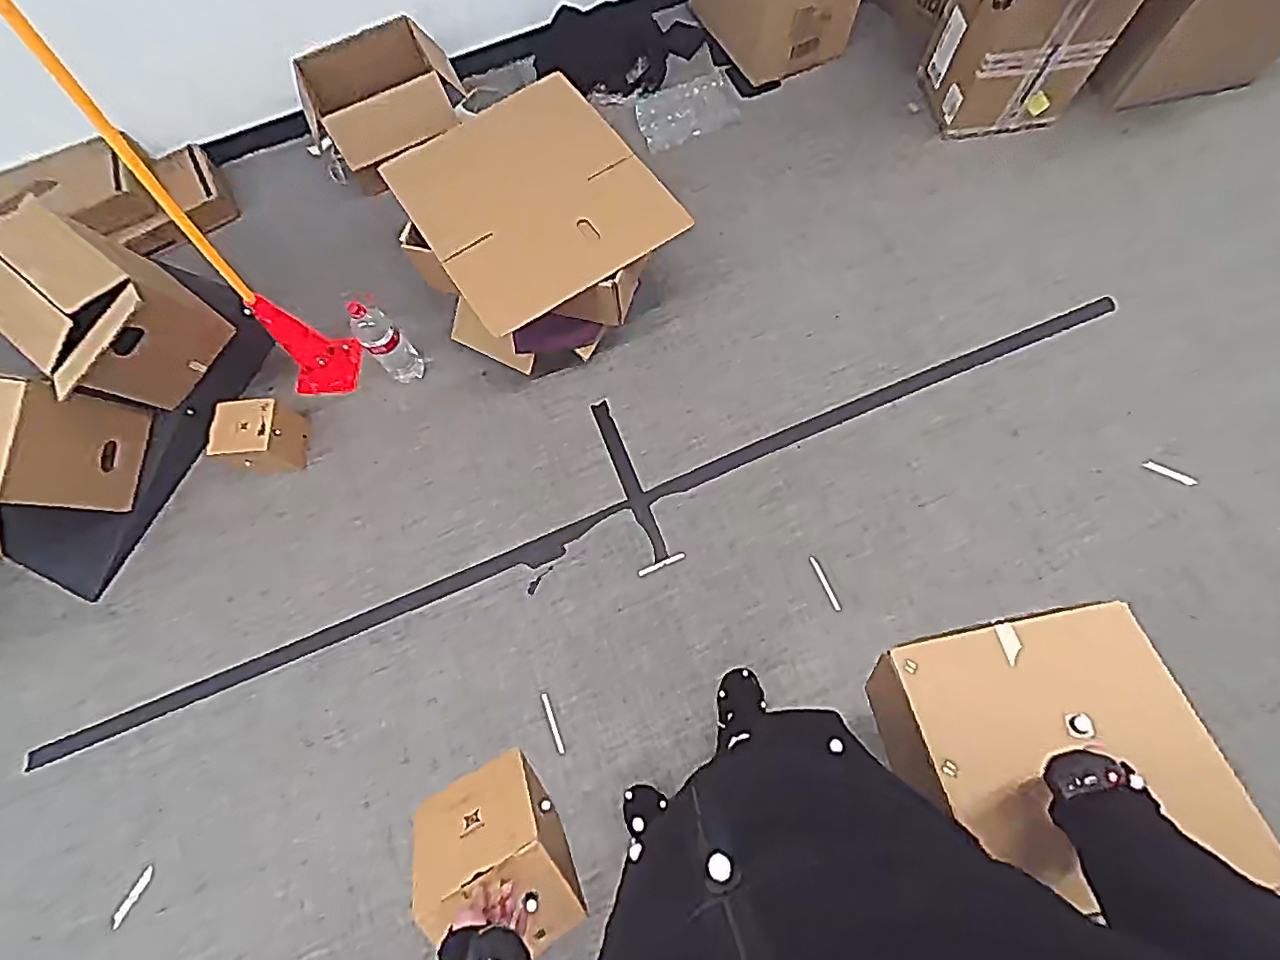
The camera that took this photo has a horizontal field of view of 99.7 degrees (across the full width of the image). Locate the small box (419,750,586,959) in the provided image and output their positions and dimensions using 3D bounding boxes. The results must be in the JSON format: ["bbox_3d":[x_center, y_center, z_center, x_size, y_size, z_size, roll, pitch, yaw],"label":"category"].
[{"bbox_3d":[-0.194,0.541,0.770,0.168,0.179,0.176,-26,111,-13],"label":"small box"}]
